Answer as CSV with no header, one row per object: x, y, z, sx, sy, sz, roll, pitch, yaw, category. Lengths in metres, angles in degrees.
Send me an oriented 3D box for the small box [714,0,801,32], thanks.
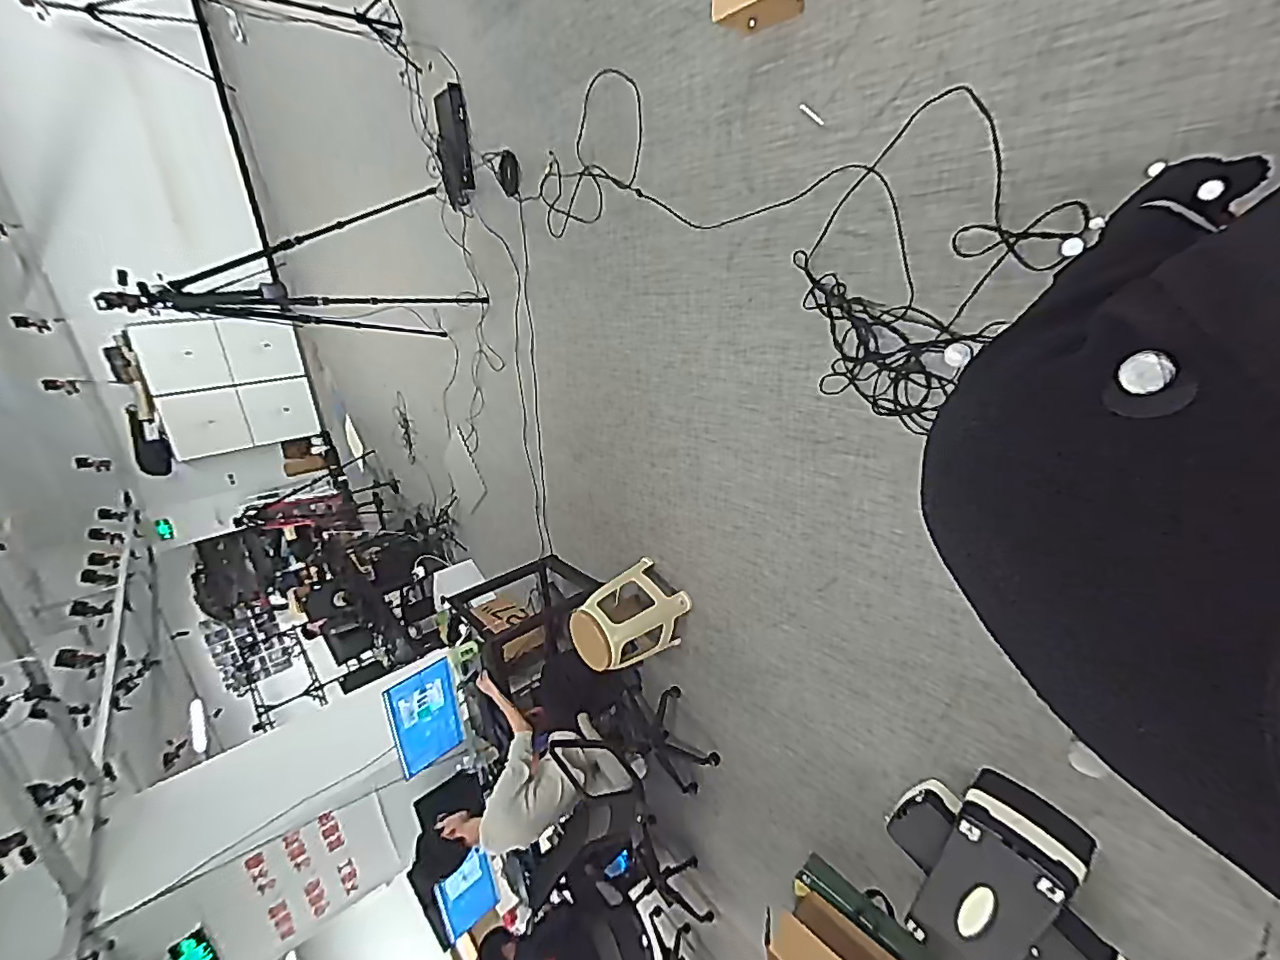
0.312,-1.307,1.403,0.179,0.176,0.168,20,121,47,small box
